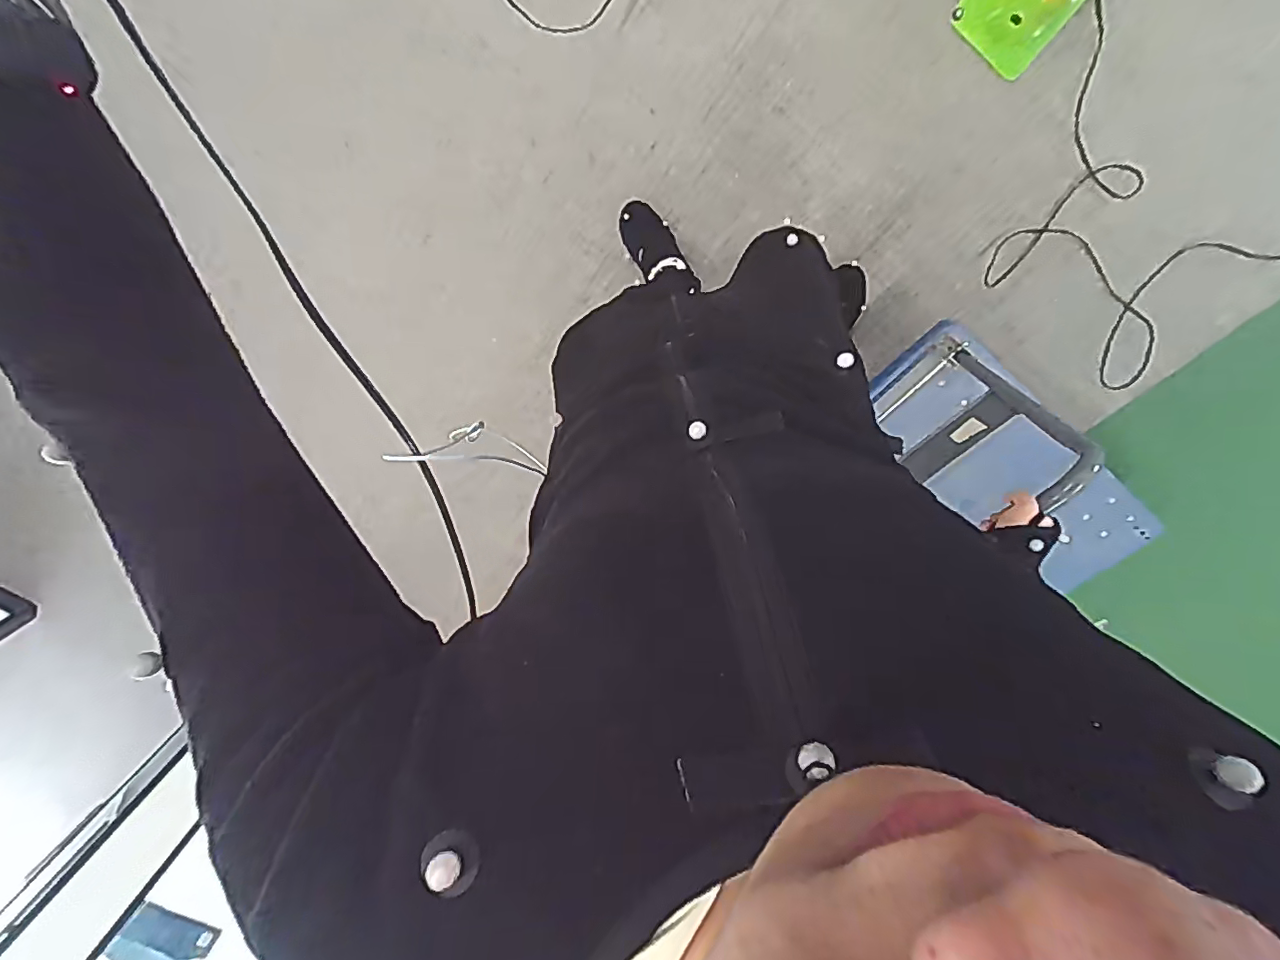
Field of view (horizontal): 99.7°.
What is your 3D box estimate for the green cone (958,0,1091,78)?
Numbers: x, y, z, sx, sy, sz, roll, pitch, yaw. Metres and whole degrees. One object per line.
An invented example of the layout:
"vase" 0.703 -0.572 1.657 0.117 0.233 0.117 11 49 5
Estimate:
"green cone" 0.756 -0.878 0.928 0.200 0.368 0.202 33 117 -11
